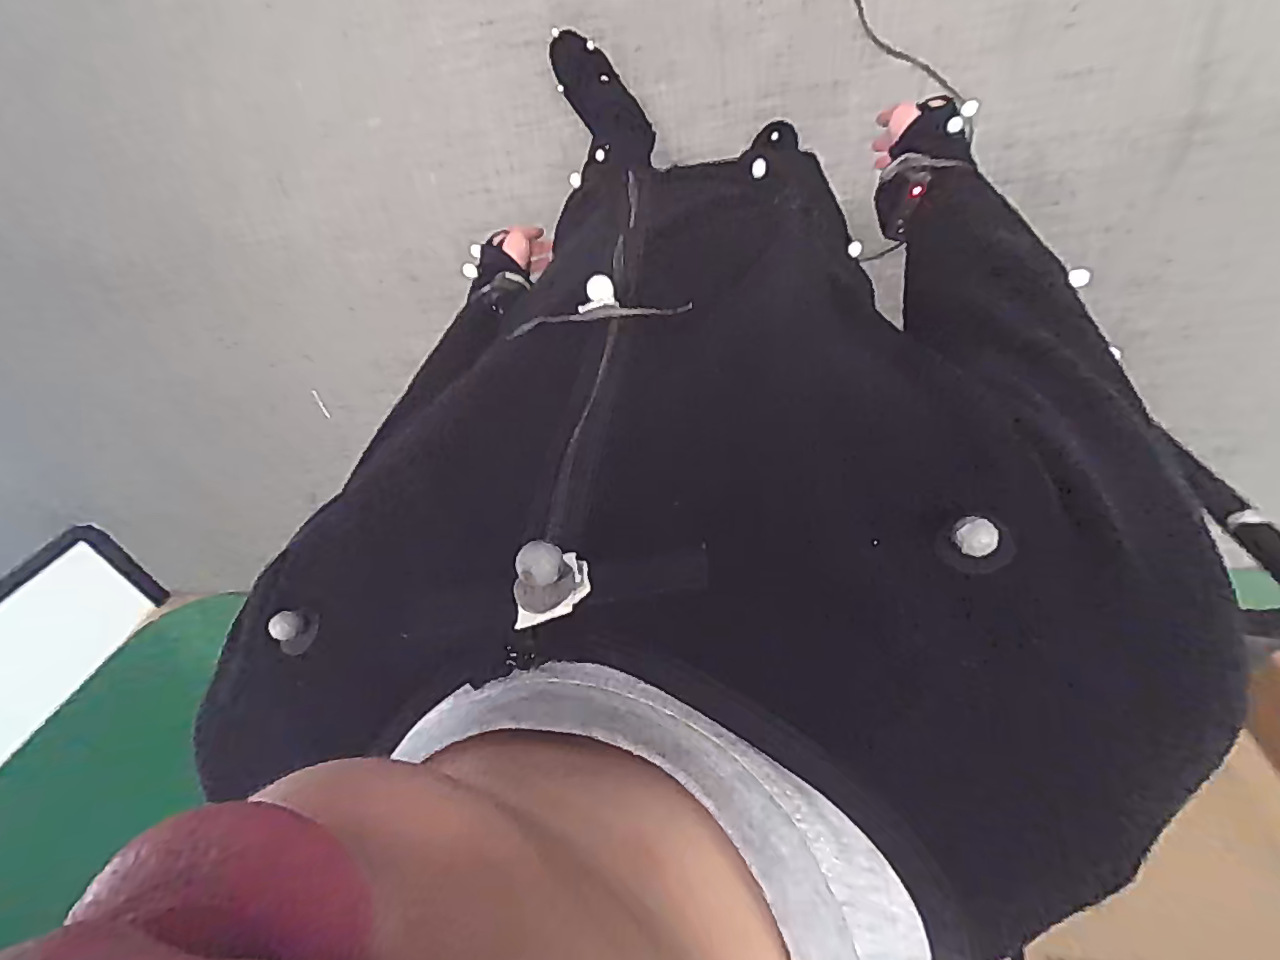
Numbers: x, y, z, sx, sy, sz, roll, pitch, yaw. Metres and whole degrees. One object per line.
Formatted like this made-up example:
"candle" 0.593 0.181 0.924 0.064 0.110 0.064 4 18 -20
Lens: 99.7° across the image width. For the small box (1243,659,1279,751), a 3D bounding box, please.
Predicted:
"small box" 1.205 0.409 0.917 0.168 0.176 0.179 -3 129 14
